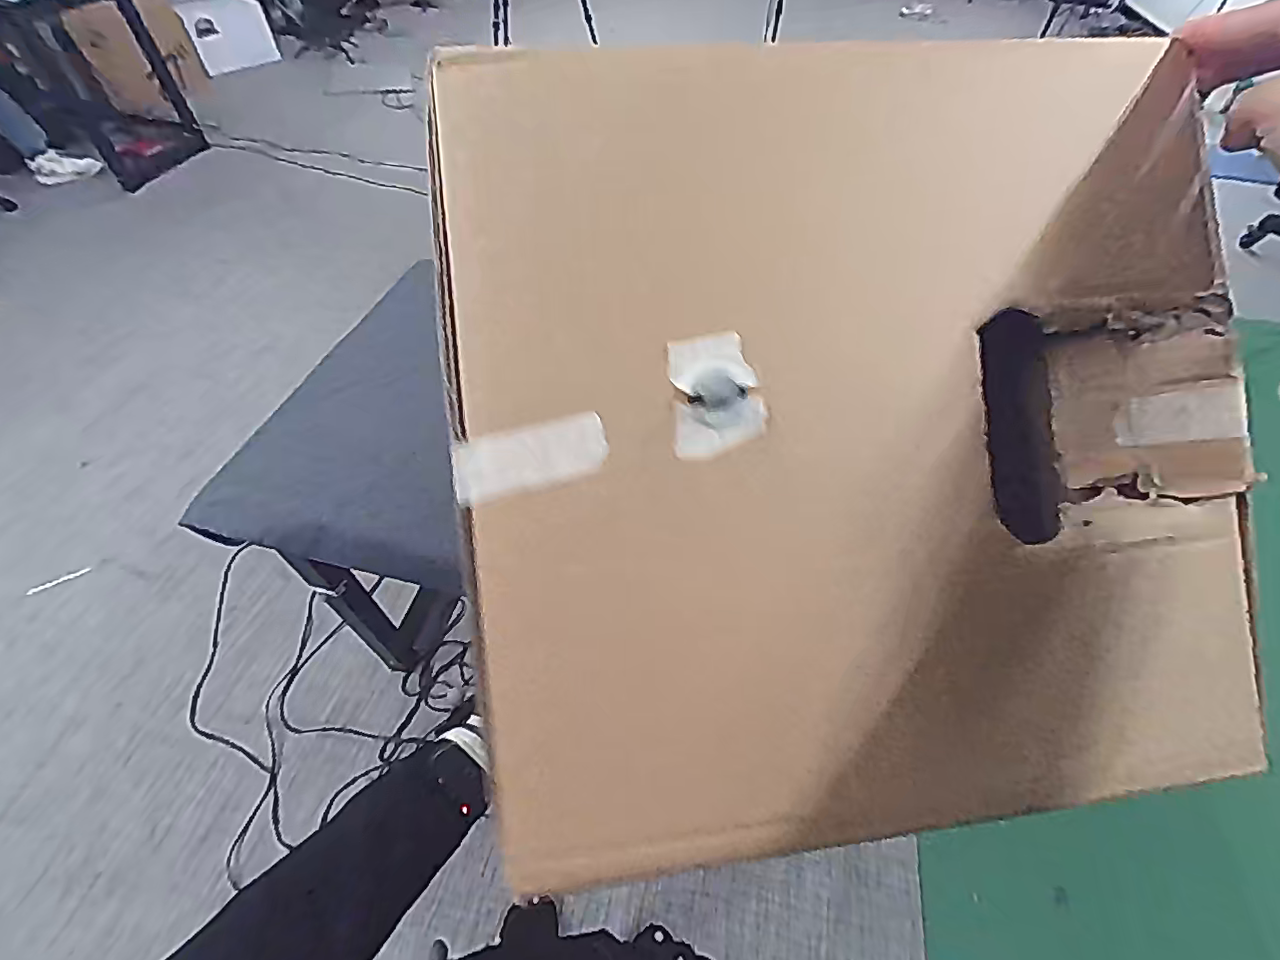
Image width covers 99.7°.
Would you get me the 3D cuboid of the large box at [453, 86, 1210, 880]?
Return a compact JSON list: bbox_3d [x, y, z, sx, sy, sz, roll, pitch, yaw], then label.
[{"bbox_3d":[0.067,-0.011,0.416,0.320,0.408,0.320,-6,90,-8],"label":"large box"}]
